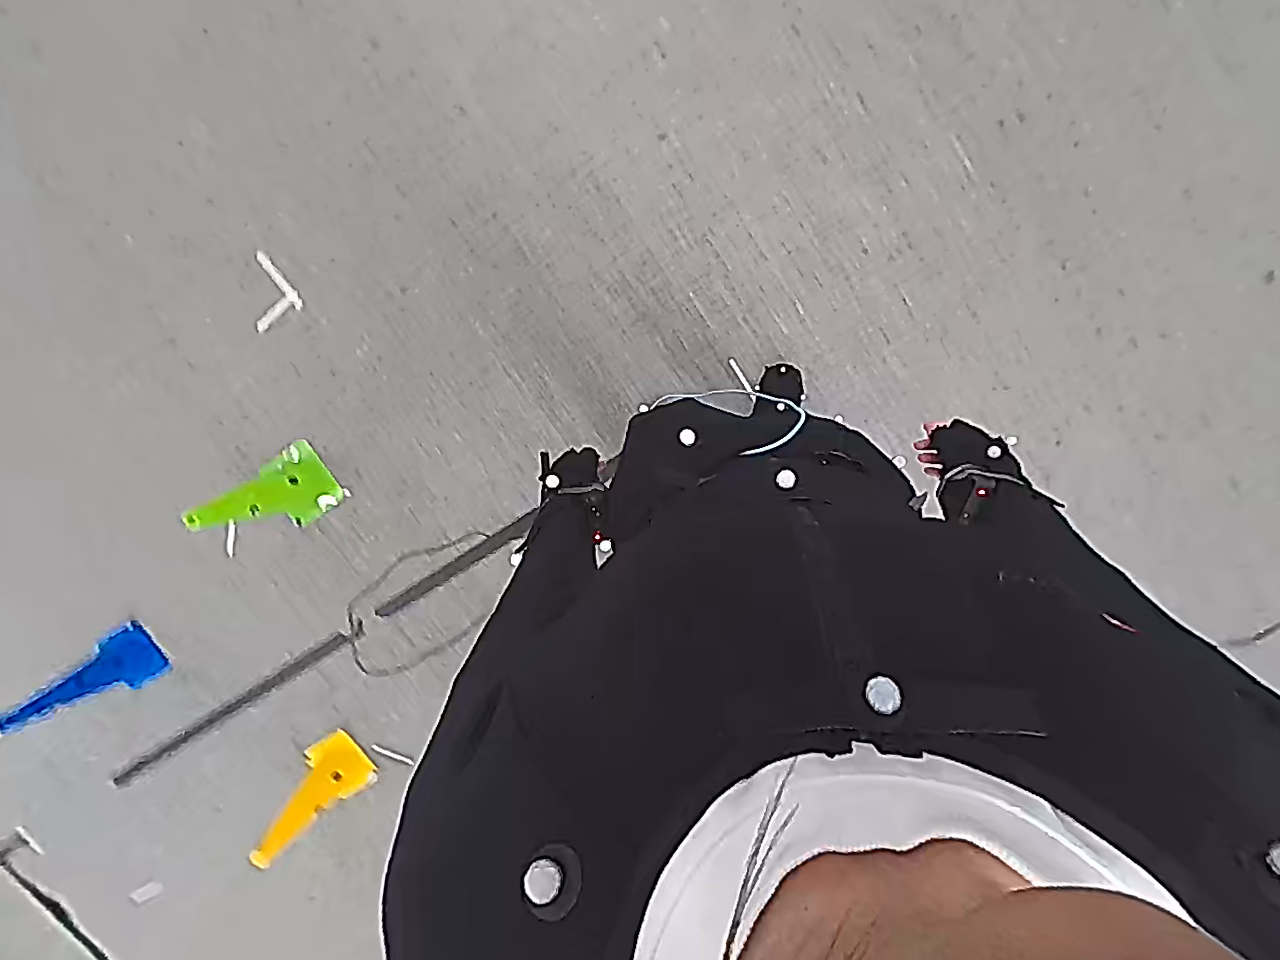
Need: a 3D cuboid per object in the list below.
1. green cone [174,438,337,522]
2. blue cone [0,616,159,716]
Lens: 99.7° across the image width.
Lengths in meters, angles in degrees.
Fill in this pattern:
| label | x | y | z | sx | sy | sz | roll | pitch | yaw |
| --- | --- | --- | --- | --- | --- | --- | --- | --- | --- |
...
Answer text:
| label | x | y | z | sx | sy | sz | roll | pitch | yaw |
| --- | --- | --- | --- | --- | --- | --- | --- | --- | --- |
| green cone | -1.020 | 0.038 | 1.406 | 0.200 | 0.368 | 0.202 | -32 | 97 | 12 |
| blue cone | -1.717 | 0.595 | 1.630 | 0.193 | 0.380 | 0.192 | -28 | 98 | 12 |
